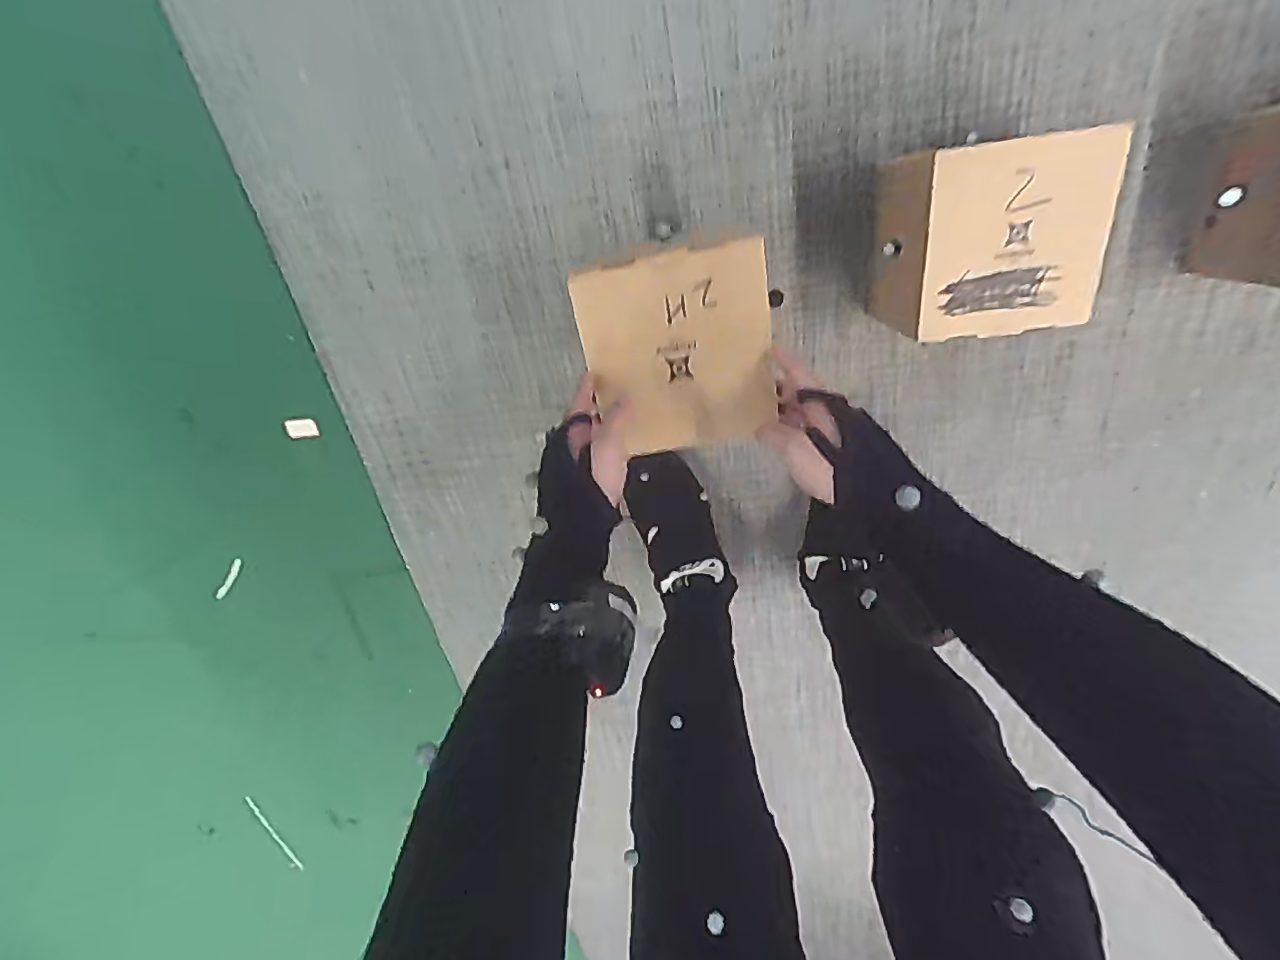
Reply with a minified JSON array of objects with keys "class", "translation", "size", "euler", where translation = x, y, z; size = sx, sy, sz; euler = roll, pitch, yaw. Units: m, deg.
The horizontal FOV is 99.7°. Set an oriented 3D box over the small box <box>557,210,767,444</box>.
[{"class":"small box","translation":[0.030,-0.159,0.547],"size":[0.168,0.176,0.179],"euler":[-9,118,8]}]
